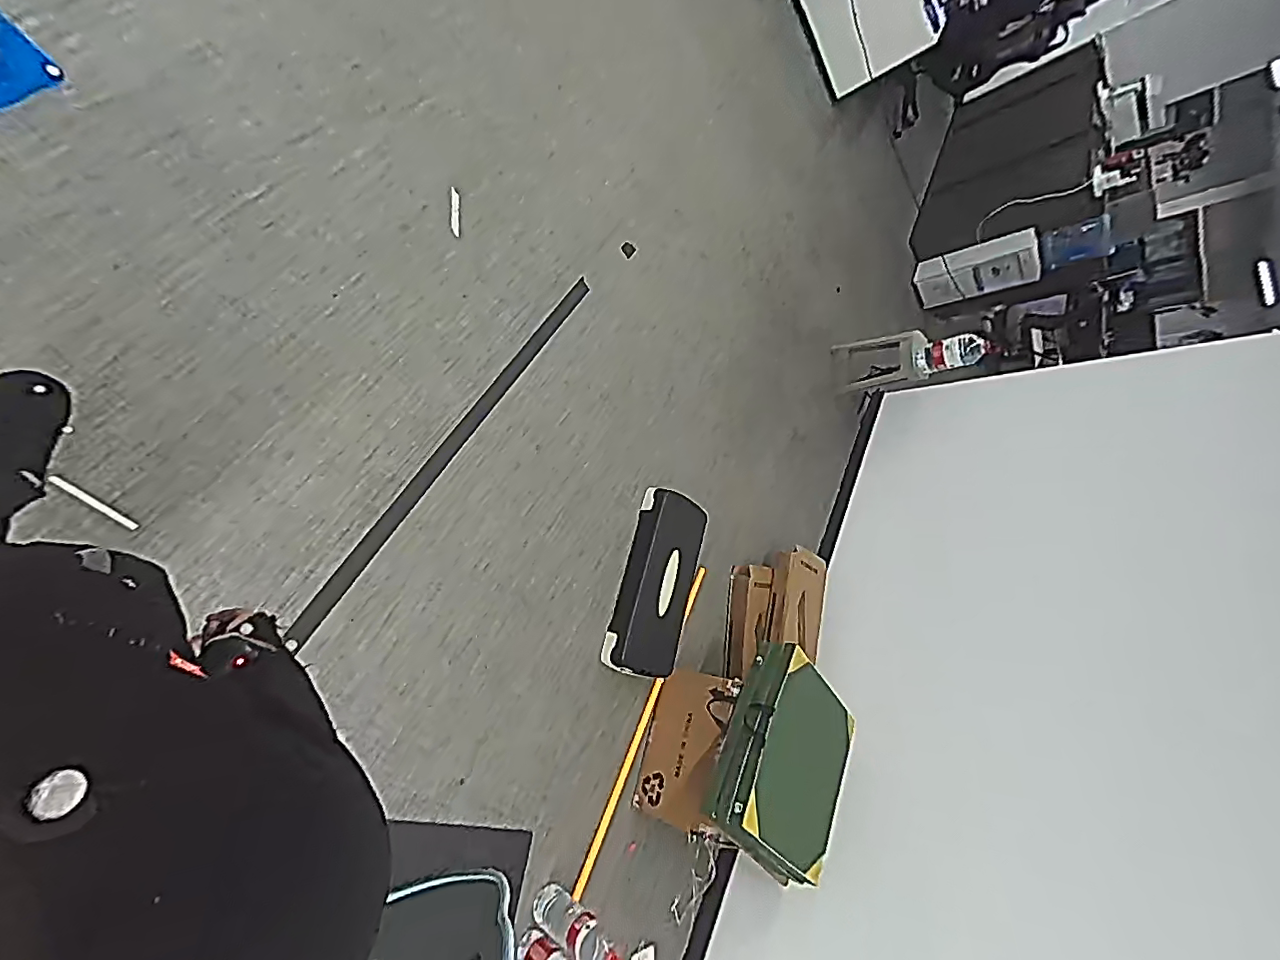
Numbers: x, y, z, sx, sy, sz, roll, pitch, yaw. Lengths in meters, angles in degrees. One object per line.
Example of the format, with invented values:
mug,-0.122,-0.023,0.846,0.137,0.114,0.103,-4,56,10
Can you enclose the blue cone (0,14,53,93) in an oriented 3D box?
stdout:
blue cone,-1.025,-0.747,0.771,0.193,0.380,0.192,51,54,-31
